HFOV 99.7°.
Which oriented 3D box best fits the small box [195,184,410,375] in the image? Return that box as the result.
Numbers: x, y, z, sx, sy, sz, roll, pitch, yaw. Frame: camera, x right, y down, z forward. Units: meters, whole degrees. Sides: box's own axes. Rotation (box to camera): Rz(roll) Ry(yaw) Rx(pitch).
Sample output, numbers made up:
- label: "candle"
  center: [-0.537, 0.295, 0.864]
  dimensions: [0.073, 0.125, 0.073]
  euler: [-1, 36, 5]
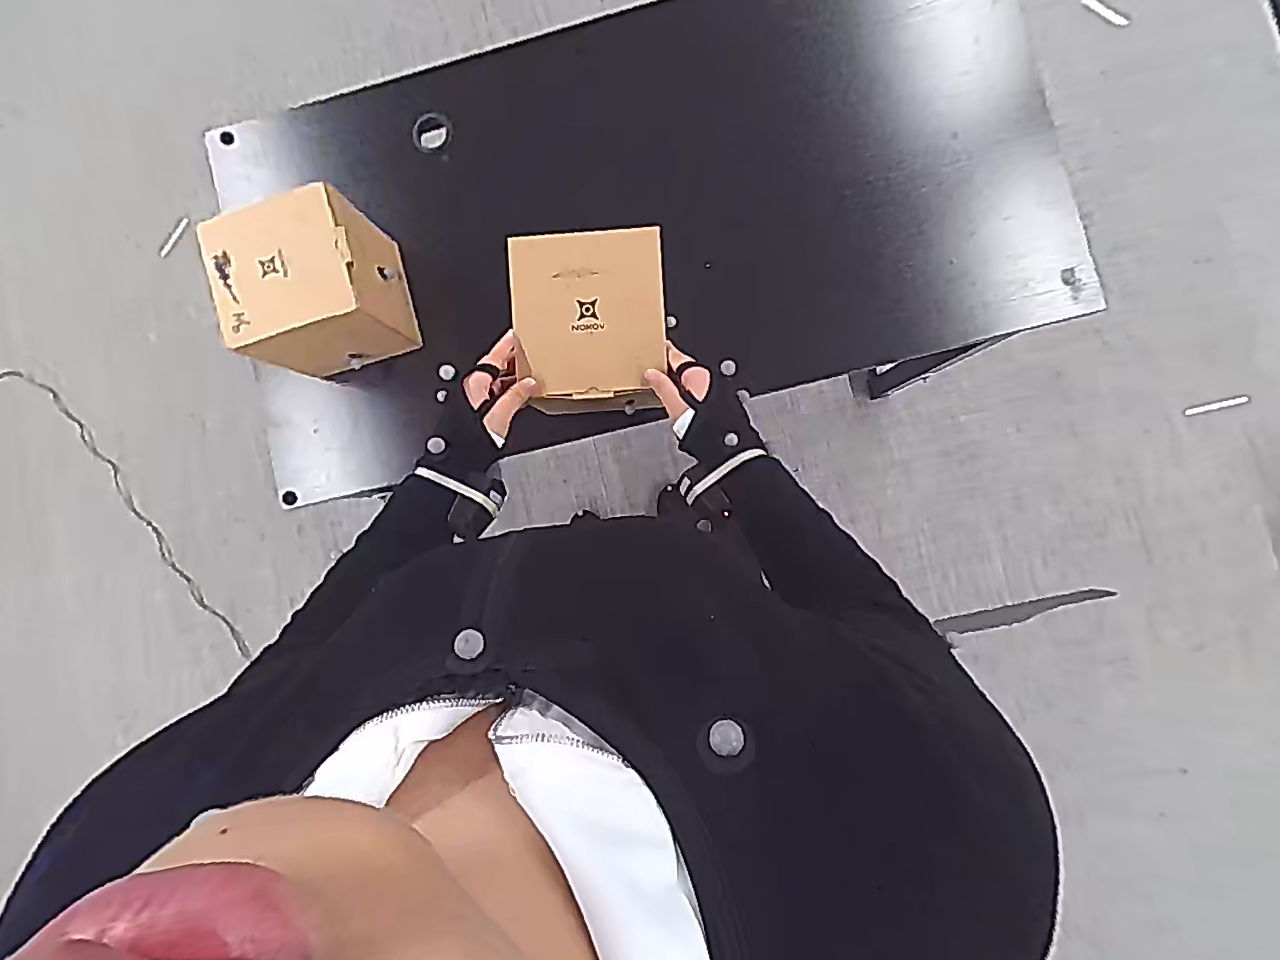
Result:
- label: "small box"
  center: [-0.435, -0.256, 0.731]
  dimensions: [0.179, 0.176, 0.168]
  euler: [-16, 87, 2]

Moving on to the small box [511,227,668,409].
- label: "small box"
  center: [-0.051, -0.181, 0.658]
  dimensions: [0.168, 0.176, 0.179]
  euler: [-3, 91, 1]
